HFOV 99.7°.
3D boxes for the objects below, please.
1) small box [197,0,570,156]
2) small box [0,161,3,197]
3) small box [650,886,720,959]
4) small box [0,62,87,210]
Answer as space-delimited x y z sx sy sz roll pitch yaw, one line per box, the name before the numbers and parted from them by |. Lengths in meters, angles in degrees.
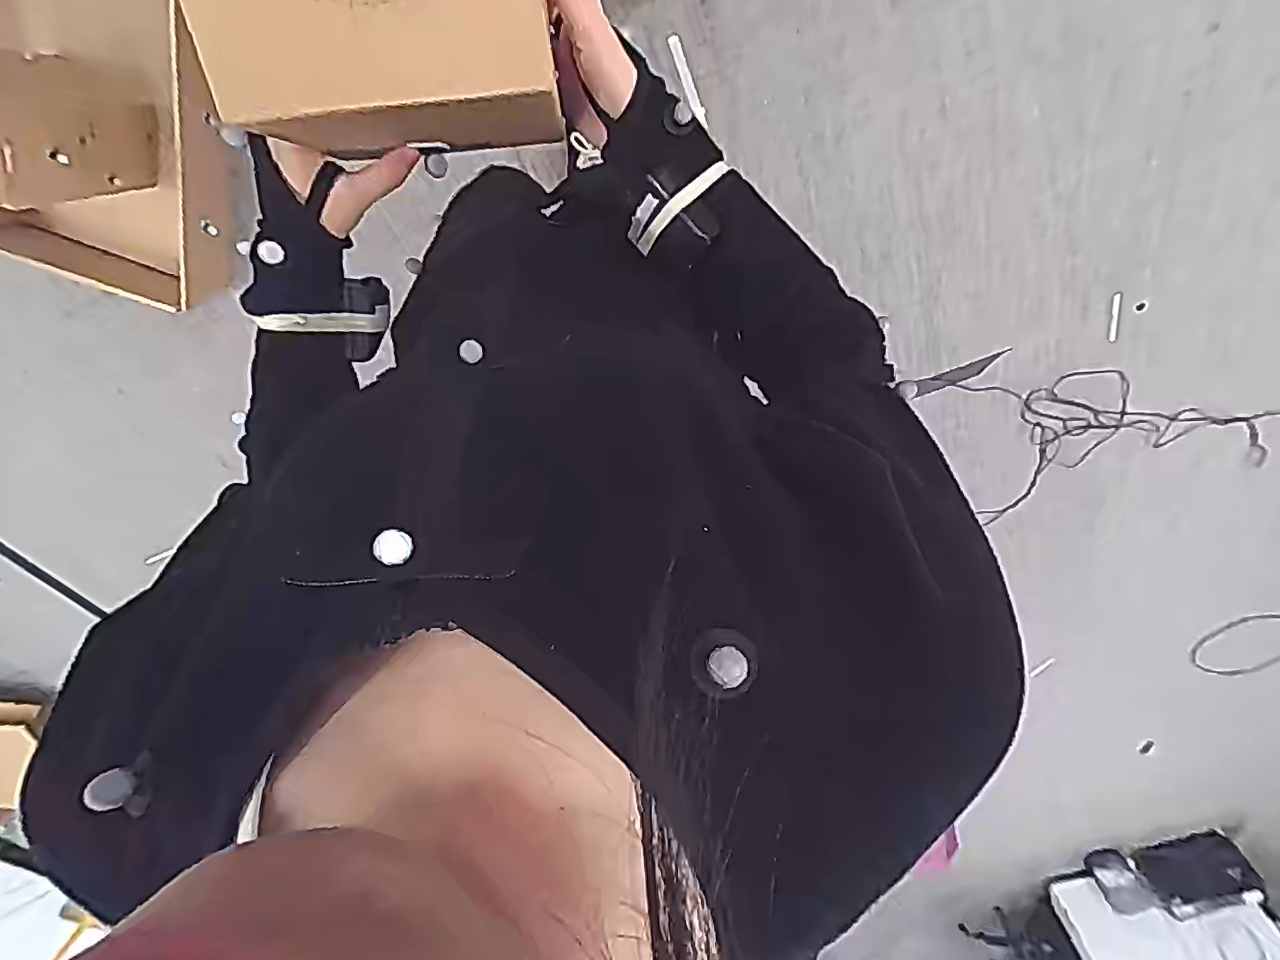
small box | -0.133 -0.301 0.305 0.168 0.176 0.179 -8 116 -2
small box | -1.051 -0.487 0.733 0.179 0.176 0.168 21 120 -17
small box | 0.140 1.401 1.681 0.168 0.176 0.179 -21 122 10
small box | -1.054 -0.571 0.873 0.179 0.176 0.168 22 120 -17
